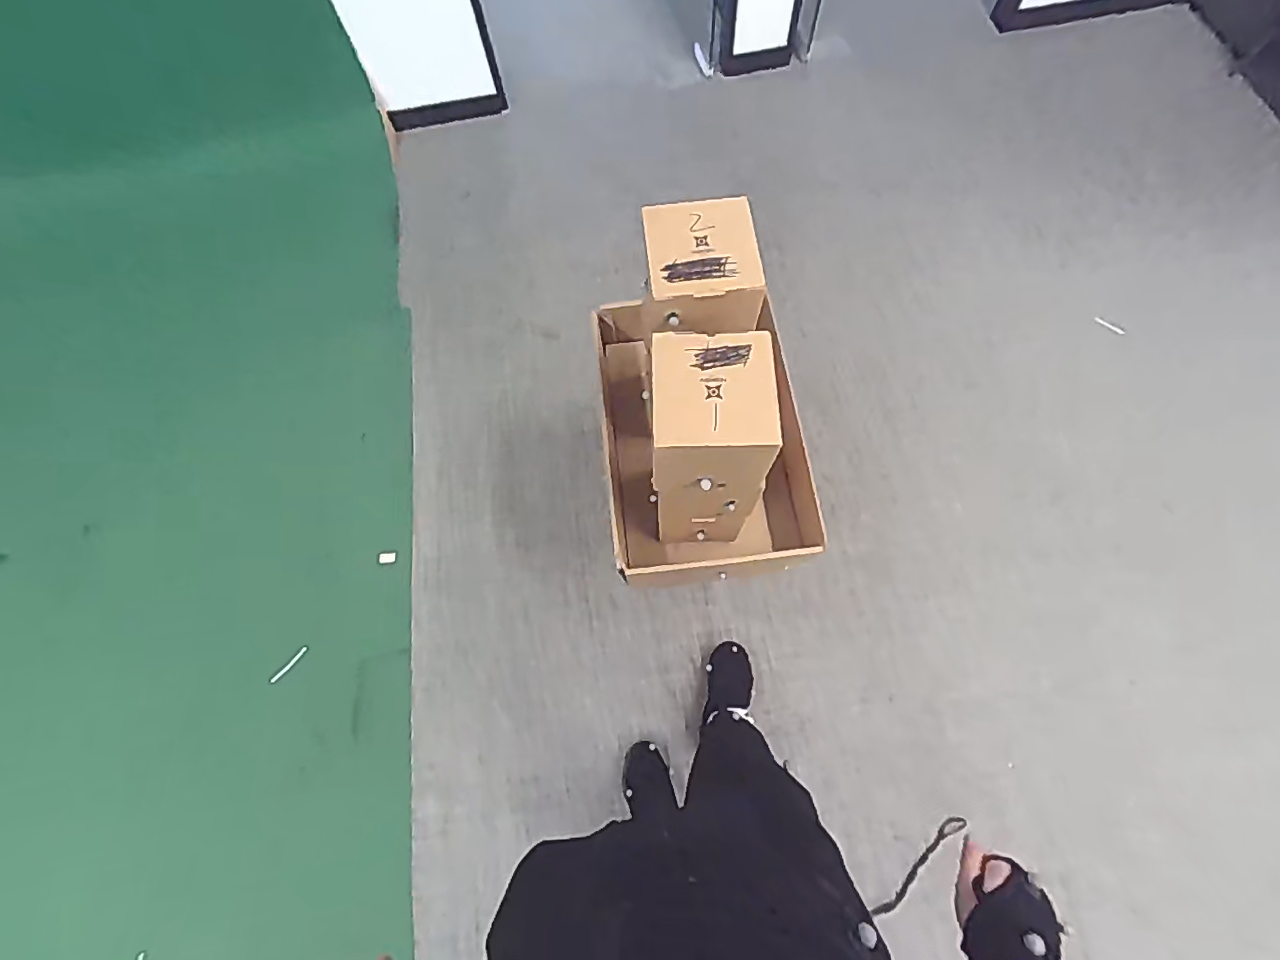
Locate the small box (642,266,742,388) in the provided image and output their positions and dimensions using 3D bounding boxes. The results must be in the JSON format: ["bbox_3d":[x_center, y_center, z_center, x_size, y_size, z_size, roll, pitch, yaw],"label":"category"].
[{"bbox_3d":[0.093,-0.279,1.039,0.168,0.176,0.179,-7,72,-1],"label":"small box"}]

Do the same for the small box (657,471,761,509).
[{"bbox_3d":[0.113,-0.051,0.951,0.168,0.176,0.179,0,69,1],"label":"small box"}]

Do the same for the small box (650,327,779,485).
[{"bbox_3d":[0.098,-0.103,0.796,0.168,0.176,0.179,0,70,1],"label":"small box"}]
